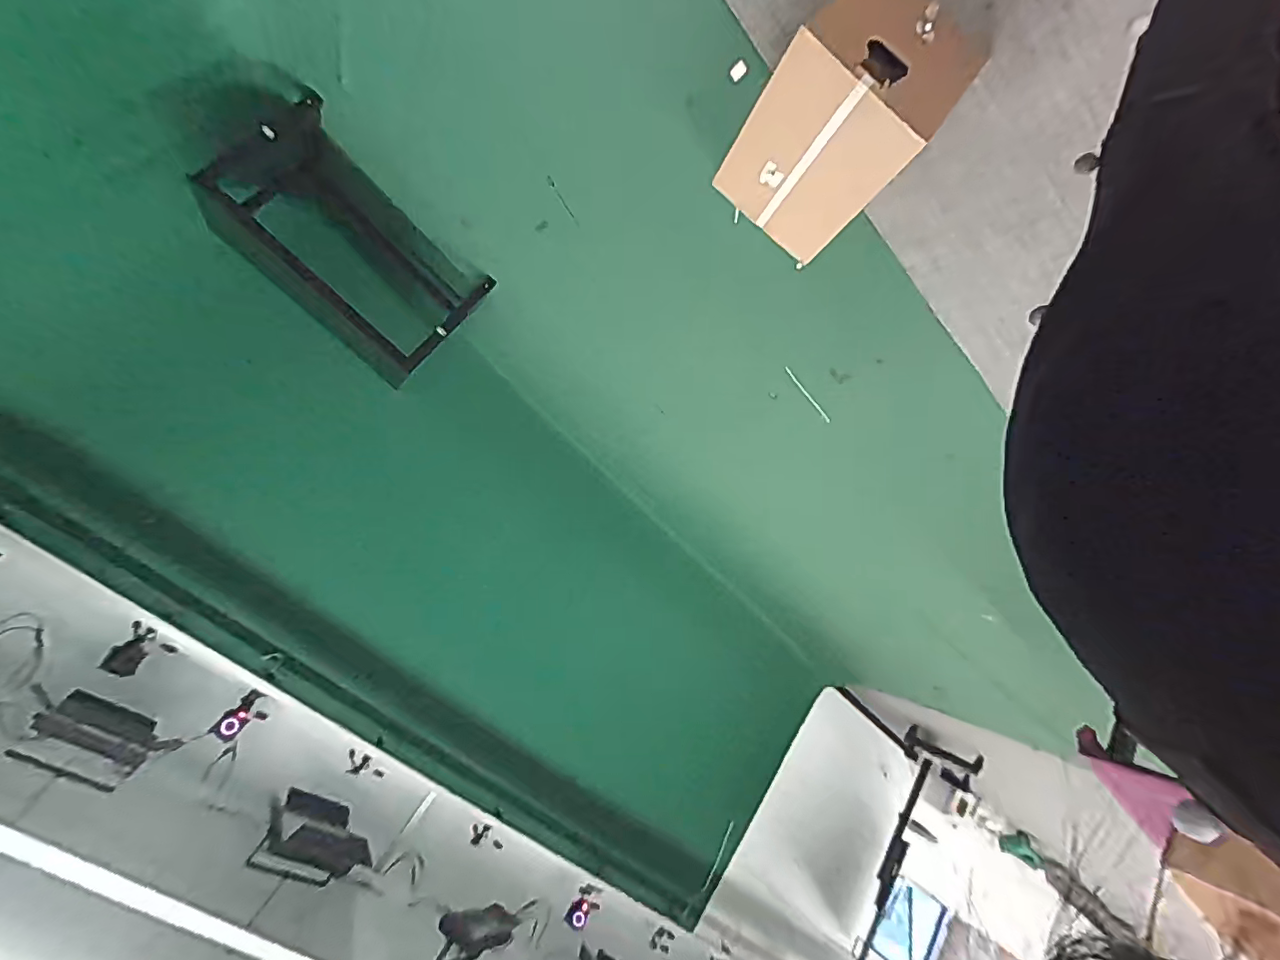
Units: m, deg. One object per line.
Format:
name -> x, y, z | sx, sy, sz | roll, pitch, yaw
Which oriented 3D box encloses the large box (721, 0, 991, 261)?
large box -> 0.448, -0.790, 1.191 | 0.320, 0.320, 0.408 | 39, 162, -5
